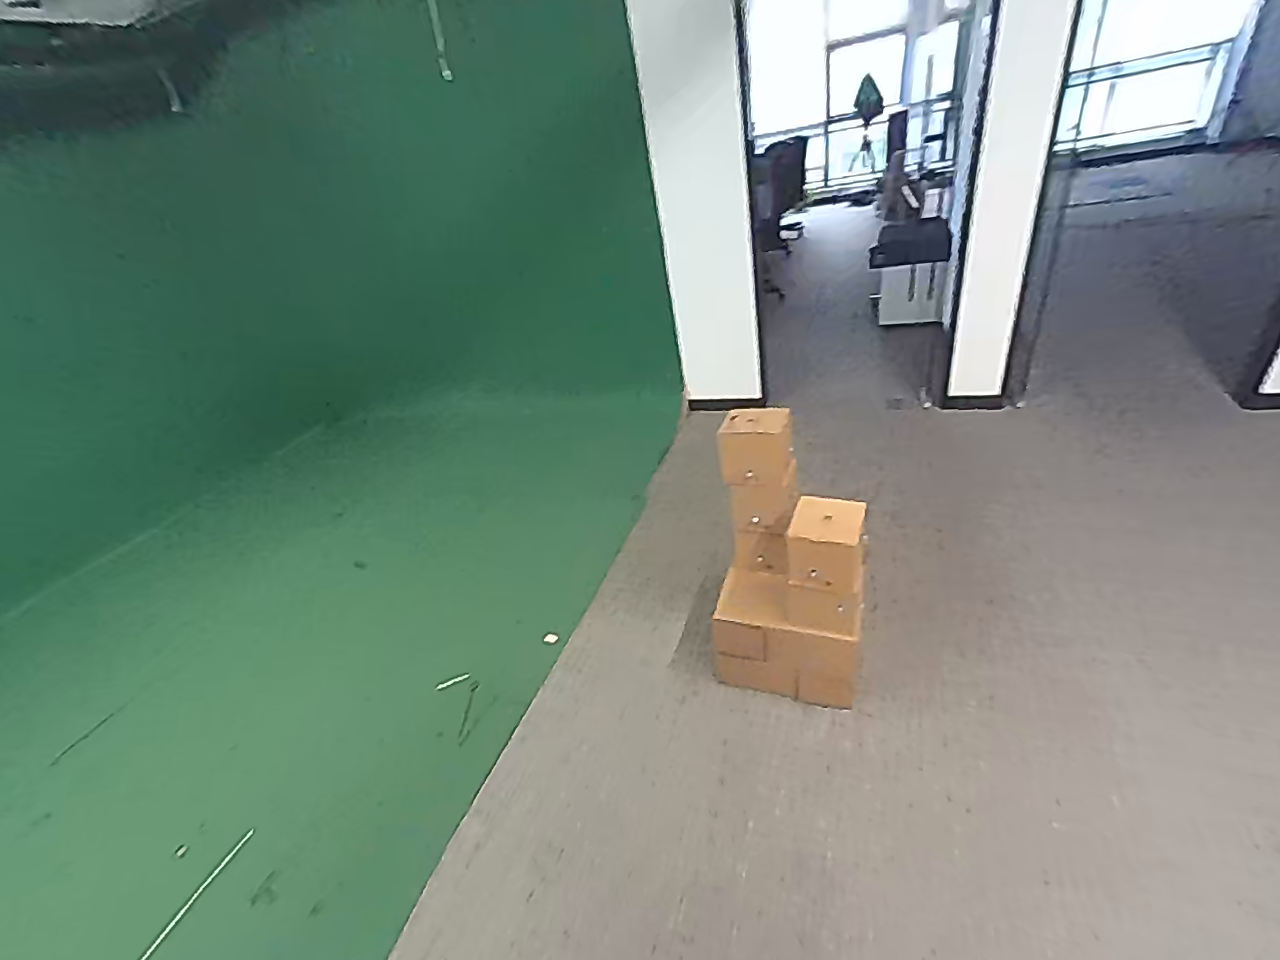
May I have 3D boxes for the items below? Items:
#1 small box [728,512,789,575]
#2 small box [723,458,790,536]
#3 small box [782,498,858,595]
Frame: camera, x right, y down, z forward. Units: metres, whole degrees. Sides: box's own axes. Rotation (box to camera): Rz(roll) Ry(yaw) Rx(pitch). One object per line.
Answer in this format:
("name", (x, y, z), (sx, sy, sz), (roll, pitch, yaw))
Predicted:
("small box", (0.389, 0.181, 1.753), (0.168, 0.176, 0.179), (2, 31, 24))
("small box", (0.363, 0.048, 1.658), (0.168, 0.176, 0.179), (4, 33, 25))
("small box", (0.472, 0.171, 1.421), (0.168, 0.176, 0.179), (6, 35, 25))
